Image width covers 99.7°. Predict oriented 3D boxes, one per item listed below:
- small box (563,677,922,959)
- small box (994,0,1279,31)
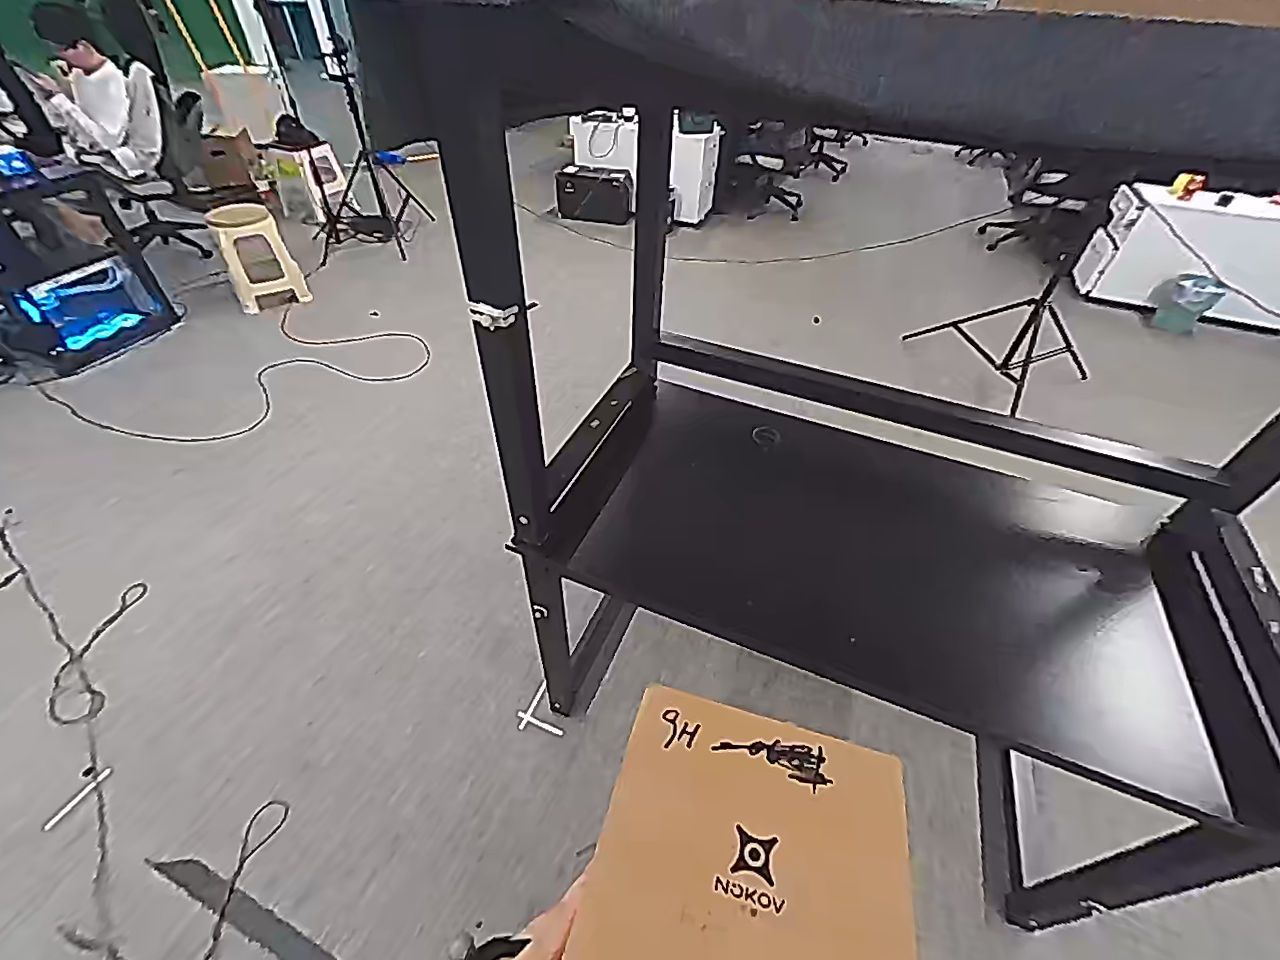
[{"bbox_3d":[0.057,0.262,0.336,0.168,0.176,0.179,14,44,10],"label":"small box"},{"bbox_3d":[0.349,-0.402,0.340,0.168,0.176,0.179,18,44,15],"label":"small box"}]
